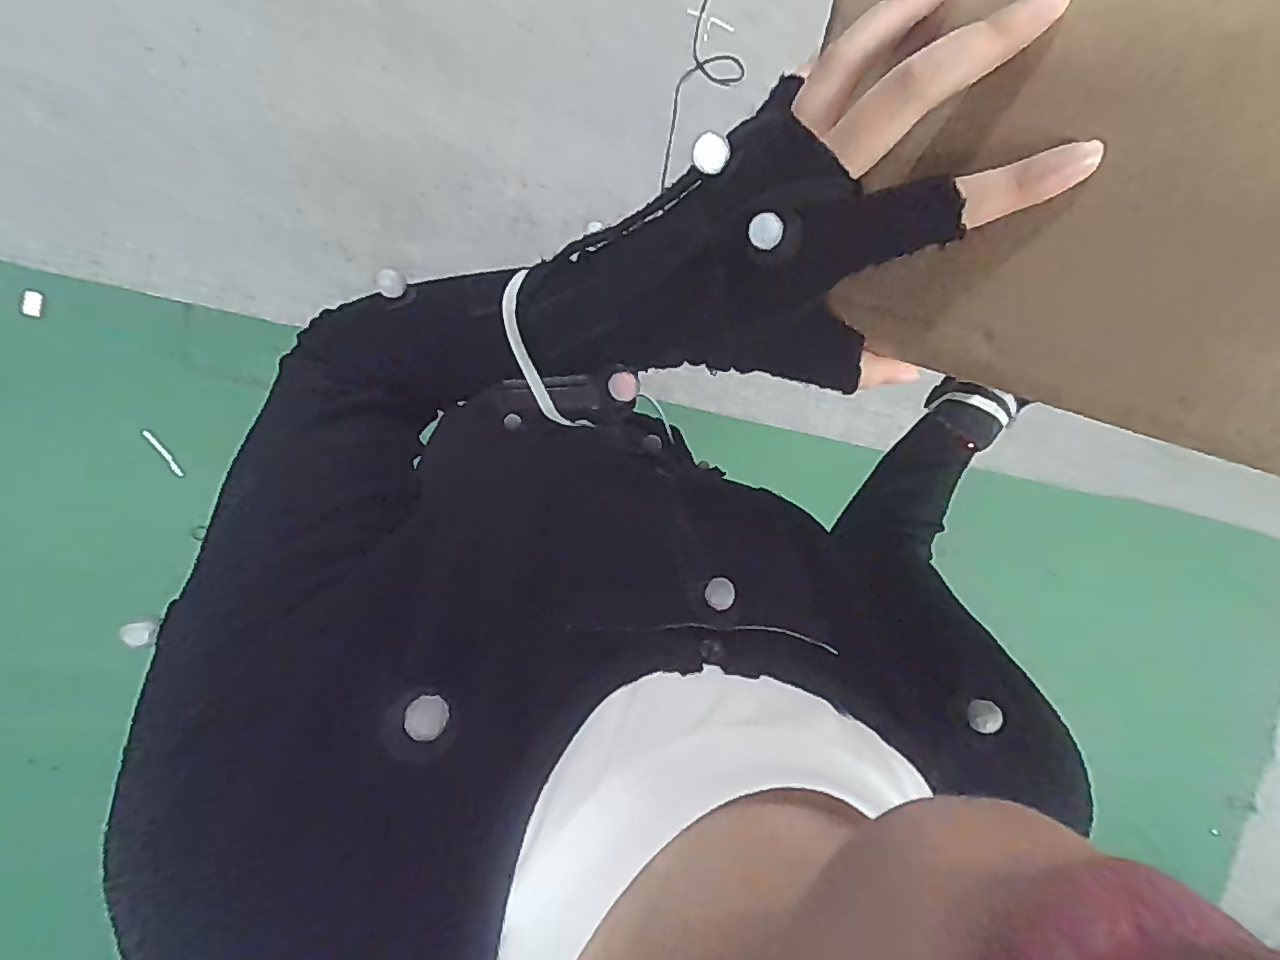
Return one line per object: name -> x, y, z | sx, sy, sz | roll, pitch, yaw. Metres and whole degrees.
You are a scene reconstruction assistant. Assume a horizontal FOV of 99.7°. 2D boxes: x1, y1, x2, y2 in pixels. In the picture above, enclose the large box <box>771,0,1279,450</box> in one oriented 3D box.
large box -> 0.329, -0.191, 0.264 | 0.408, 0.320, 0.320 | -10, 123, -45
